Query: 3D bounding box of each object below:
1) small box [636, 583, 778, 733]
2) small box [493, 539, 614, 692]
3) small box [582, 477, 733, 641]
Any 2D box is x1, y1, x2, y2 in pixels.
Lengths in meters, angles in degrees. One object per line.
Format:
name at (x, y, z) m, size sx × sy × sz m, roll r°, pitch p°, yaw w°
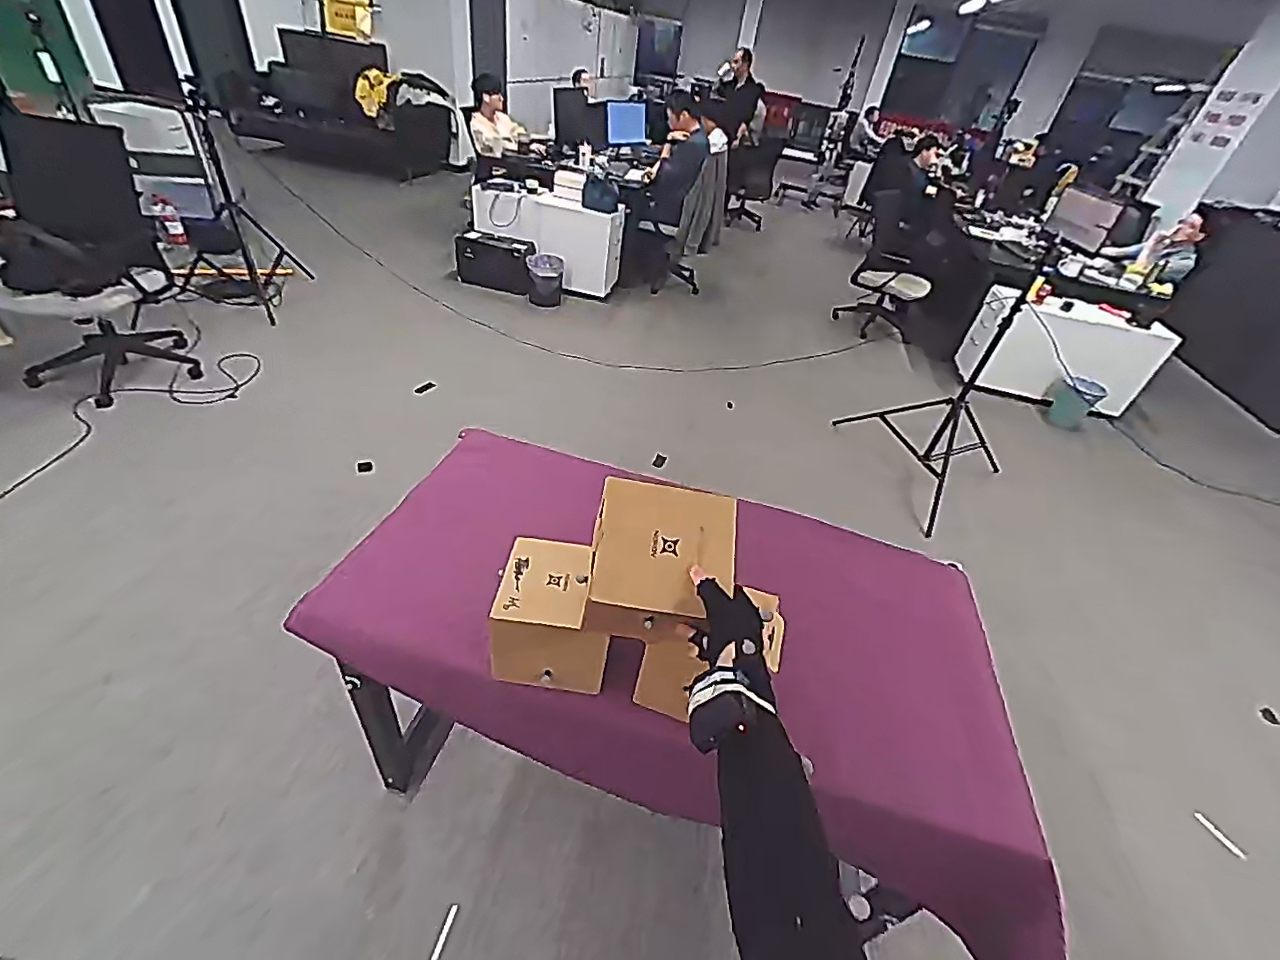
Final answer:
small box at (0.106, 0.275, 0.870) m, size 0.179 × 0.176 × 0.168 m, roll 17°, pitch 38°, yaw 10°
small box at (-0.133, 0.223, 0.884) m, size 0.179 × 0.176 × 0.168 m, roll 9°, pitch 37°, yaw -3°
small box at (0.019, 0.116, 0.742) m, size 0.179 × 0.176 × 0.168 m, roll 9°, pitch 62°, yaw -5°
